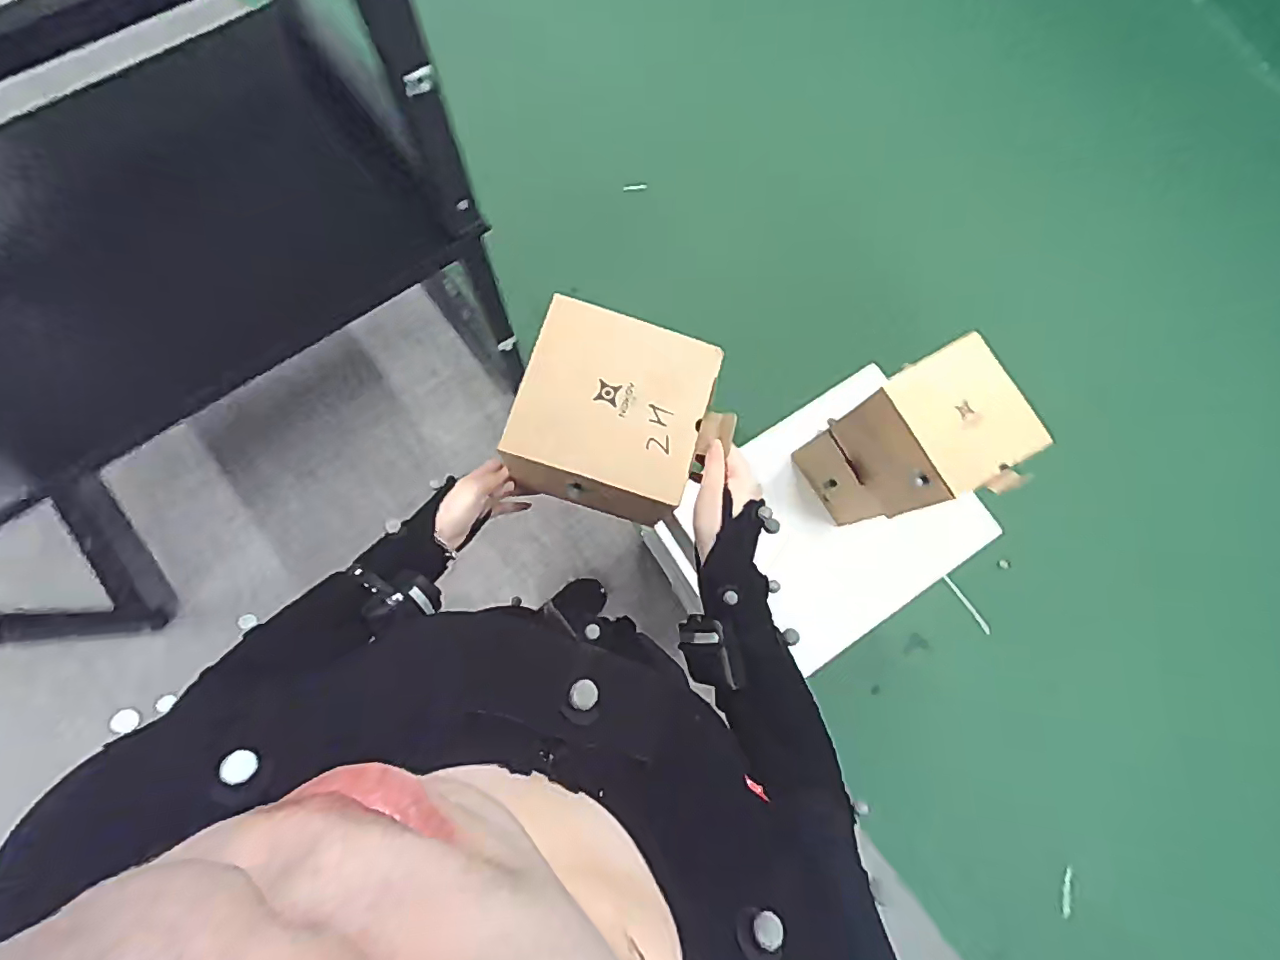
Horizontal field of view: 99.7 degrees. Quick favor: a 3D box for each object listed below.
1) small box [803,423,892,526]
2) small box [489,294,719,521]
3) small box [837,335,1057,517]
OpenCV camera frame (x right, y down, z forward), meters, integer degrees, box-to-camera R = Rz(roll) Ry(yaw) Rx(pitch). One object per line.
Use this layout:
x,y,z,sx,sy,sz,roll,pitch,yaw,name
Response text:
0.402,-0.036,0.923,0.179,0.176,0.168,-30,83,-9,small box
-0.038,-0.060,0.569,0.179,0.176,0.168,17,79,-4,small box
0.414,-0.065,0.763,0.168,0.176,0.179,-28,82,-10,small box
